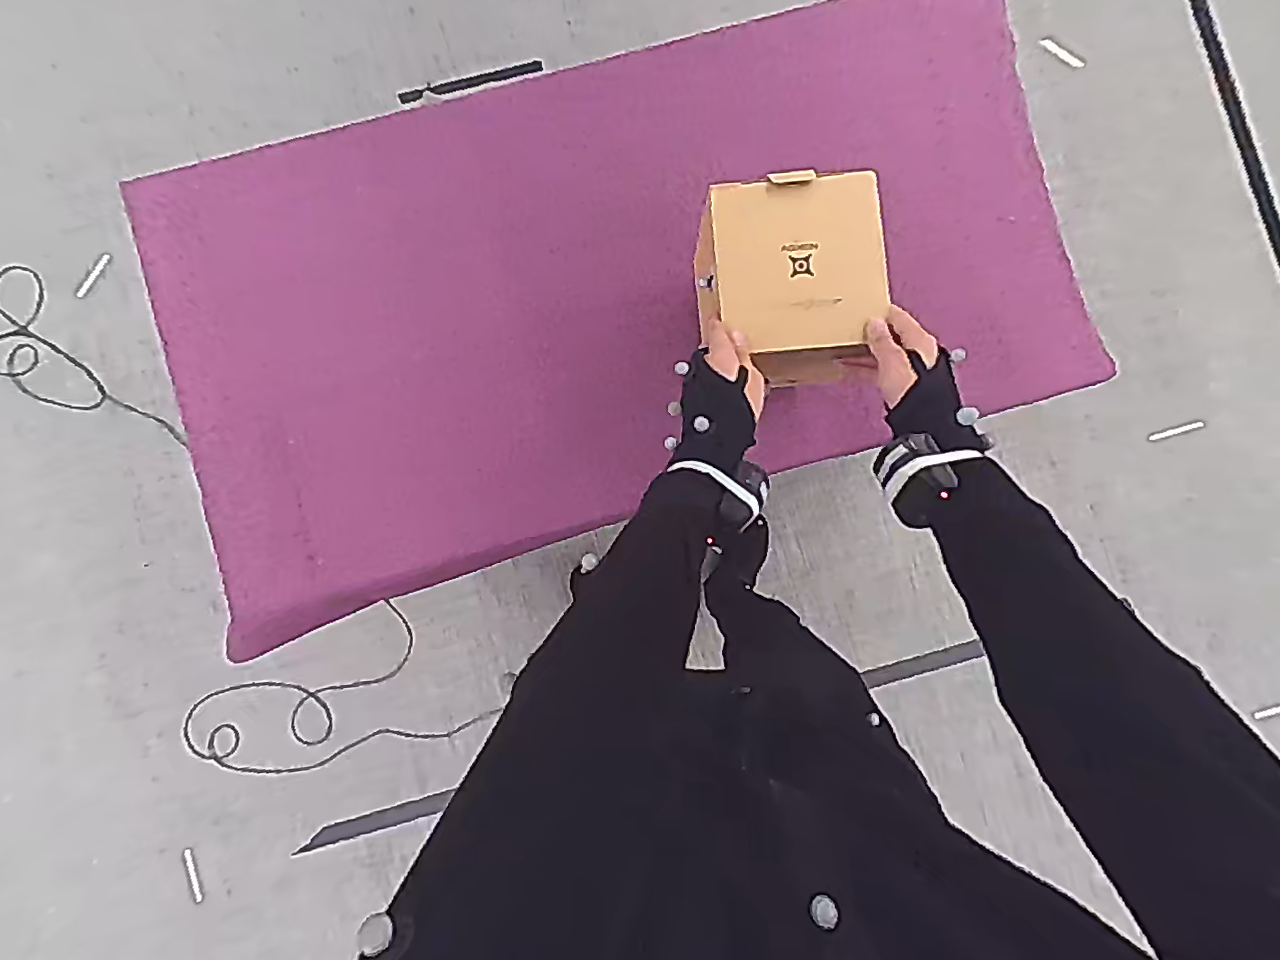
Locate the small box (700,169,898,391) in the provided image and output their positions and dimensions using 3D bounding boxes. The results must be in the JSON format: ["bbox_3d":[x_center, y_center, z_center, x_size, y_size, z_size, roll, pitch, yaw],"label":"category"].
[{"bbox_3d":[0.160,-0.207,0.599,0.168,0.176,0.179,-4,87,1],"label":"small box"}]
